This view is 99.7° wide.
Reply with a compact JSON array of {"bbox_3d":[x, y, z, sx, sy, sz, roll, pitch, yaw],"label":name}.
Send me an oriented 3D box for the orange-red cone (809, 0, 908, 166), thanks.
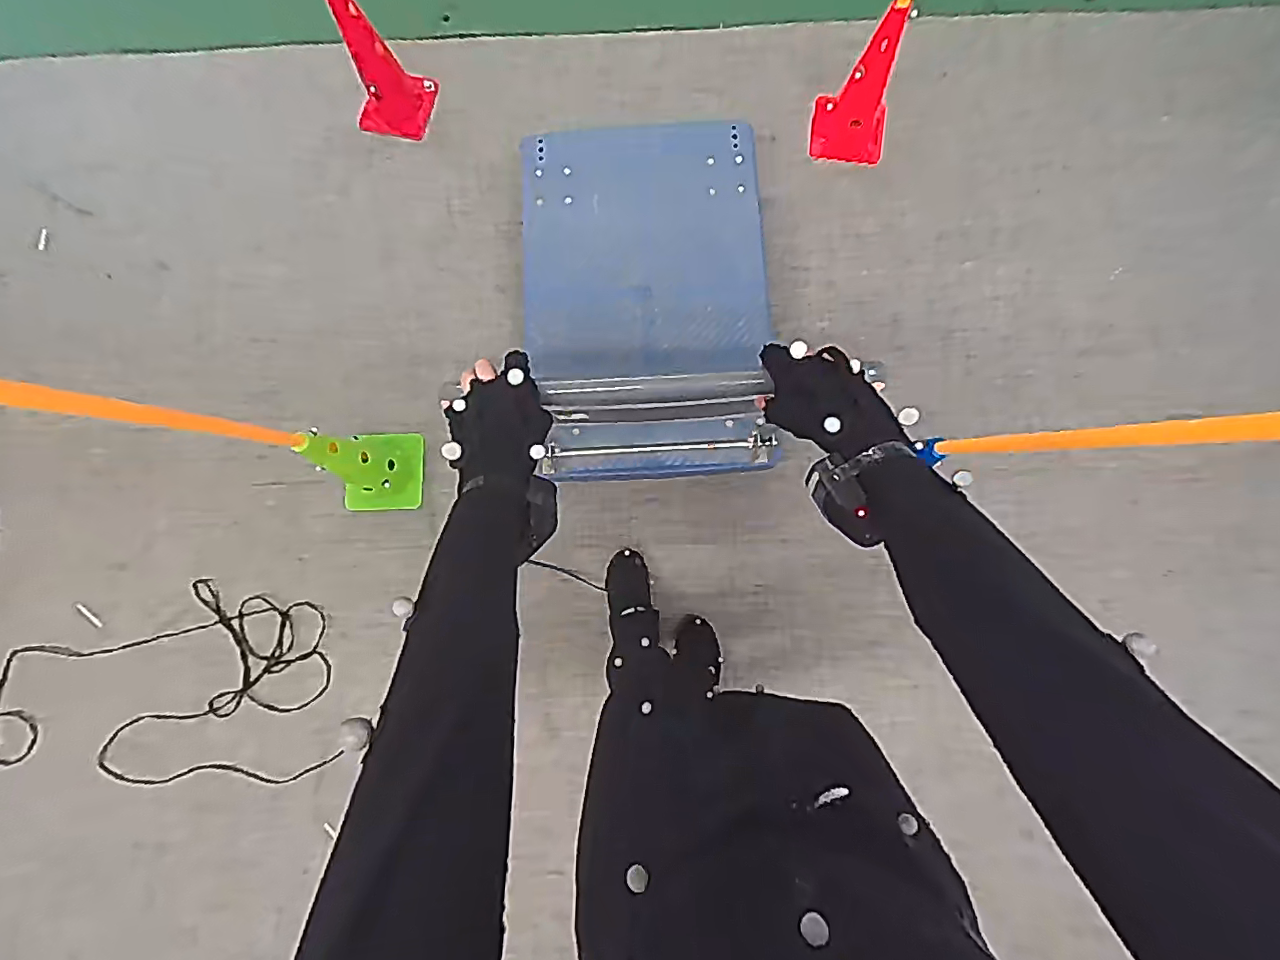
[{"bbox_3d":[0.577,-1.005,1.354,0.198,0.360,0.199,10,82,4],"label":"orange-red cone"}]
